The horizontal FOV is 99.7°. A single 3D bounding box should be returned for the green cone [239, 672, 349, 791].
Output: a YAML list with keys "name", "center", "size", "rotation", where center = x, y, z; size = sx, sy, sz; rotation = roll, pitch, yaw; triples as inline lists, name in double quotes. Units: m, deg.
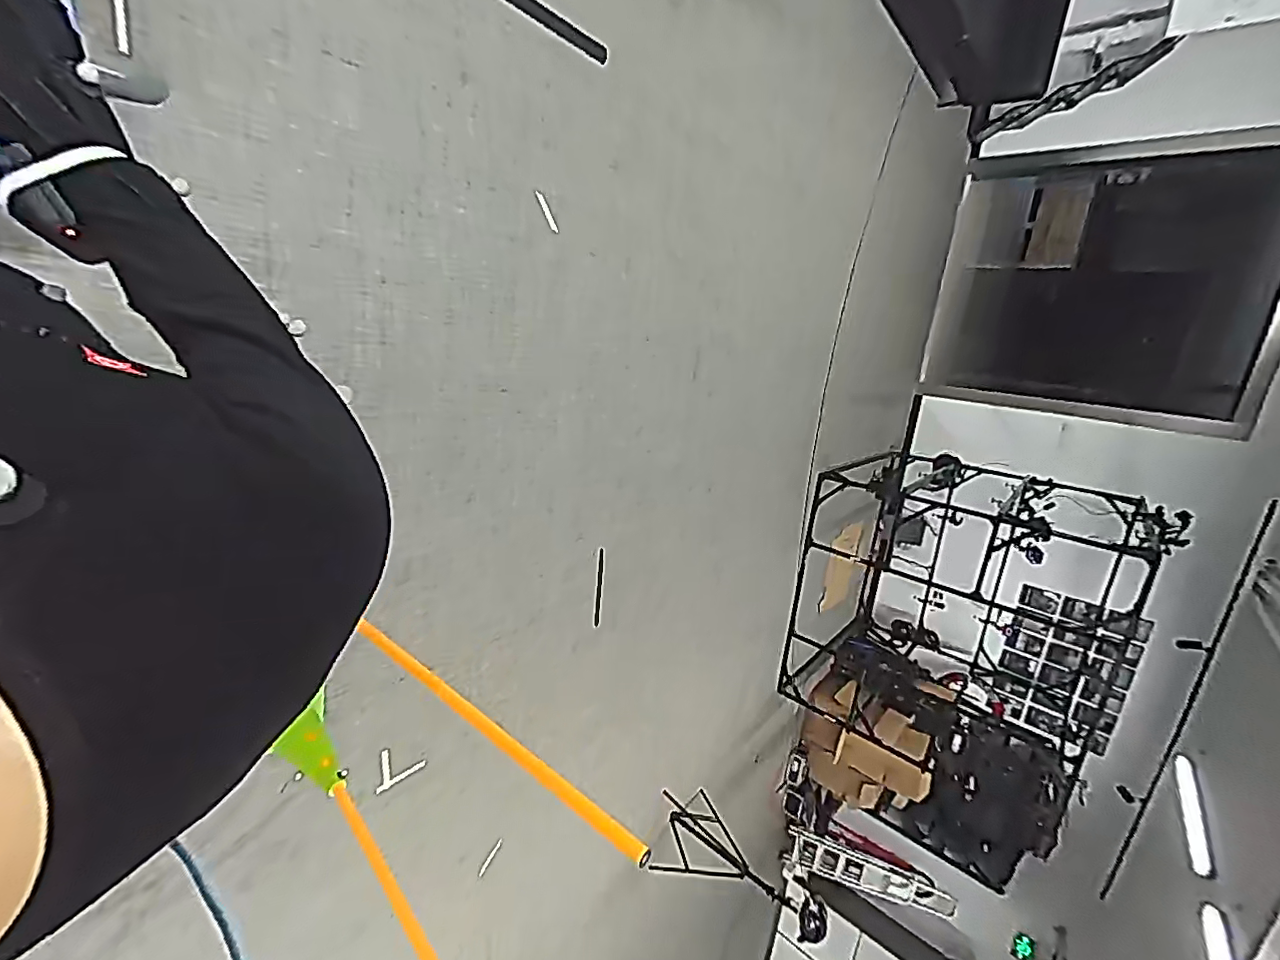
- name: "green cone"
  center: [-0.861, 0.692, 1.399]
  size: [0.202, 0.368, 0.200]
  rotation: [-7, 110, -52]
